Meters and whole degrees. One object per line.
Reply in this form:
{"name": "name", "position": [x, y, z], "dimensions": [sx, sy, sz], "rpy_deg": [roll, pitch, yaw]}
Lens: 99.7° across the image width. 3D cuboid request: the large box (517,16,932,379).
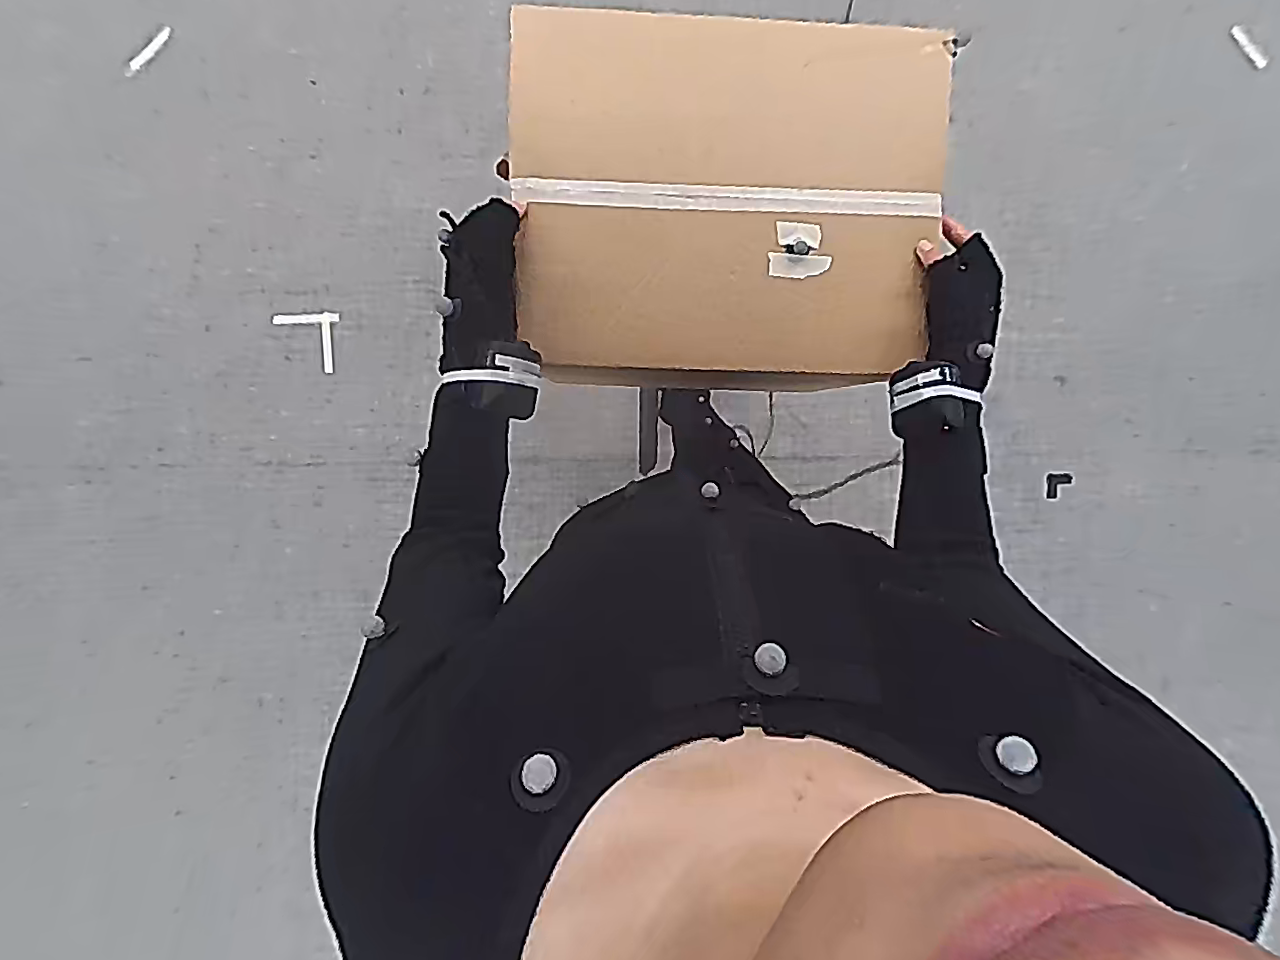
{"name": "large box", "position": [0.074, -0.295, 0.673], "dimensions": [0.408, 0.320, 0.320], "rpy_deg": [1, 97, -3]}
